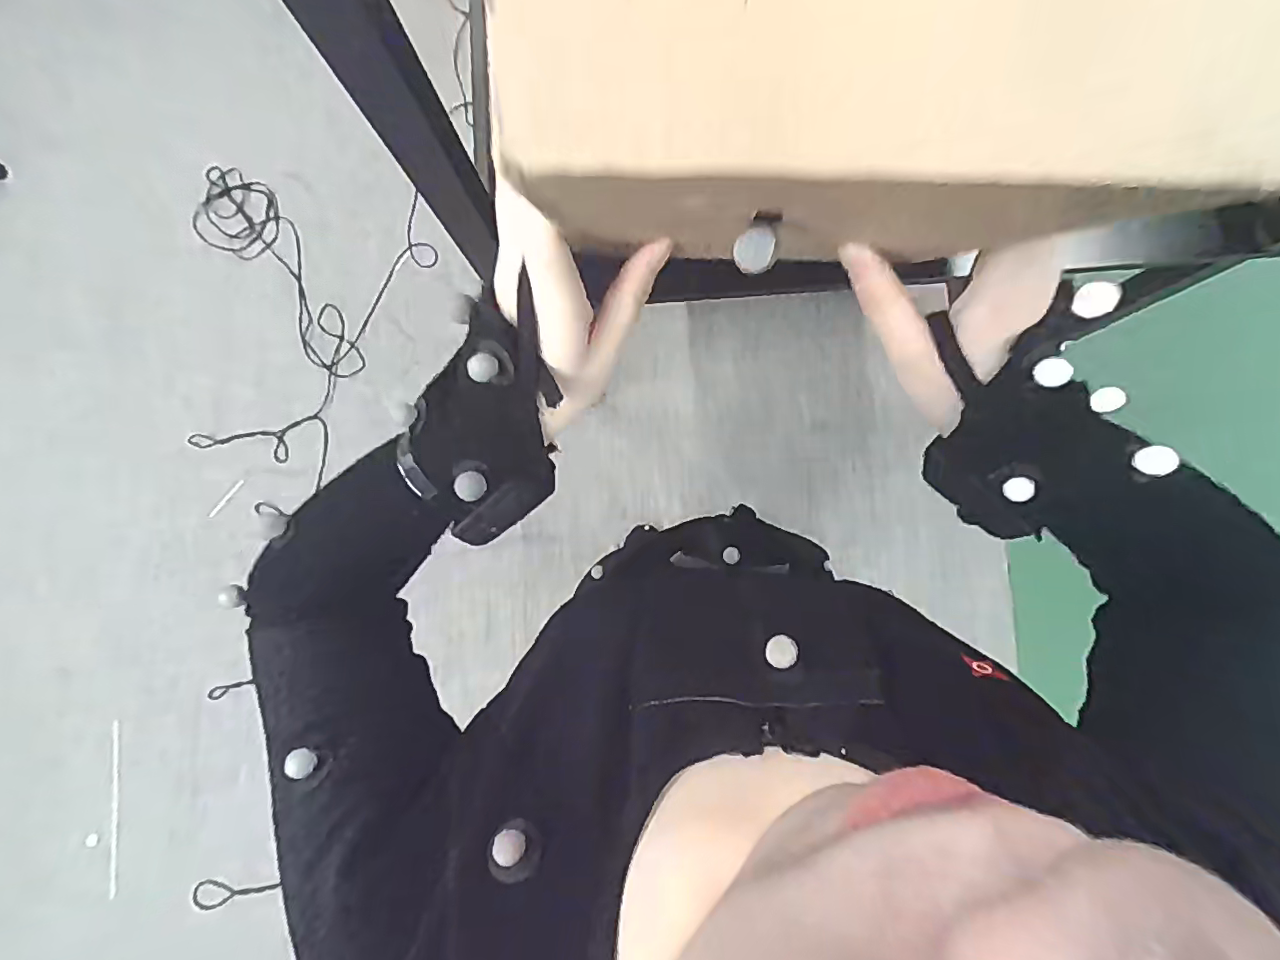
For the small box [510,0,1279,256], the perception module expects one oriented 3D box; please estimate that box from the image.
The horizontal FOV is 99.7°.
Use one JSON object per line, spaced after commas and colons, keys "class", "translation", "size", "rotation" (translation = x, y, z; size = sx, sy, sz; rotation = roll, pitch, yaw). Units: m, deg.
{"class": "small box", "translation": [0.060, -0.171, 0.183], "size": [0.179, 0.176, 0.168], "rotation": [2, 109, 0]}
